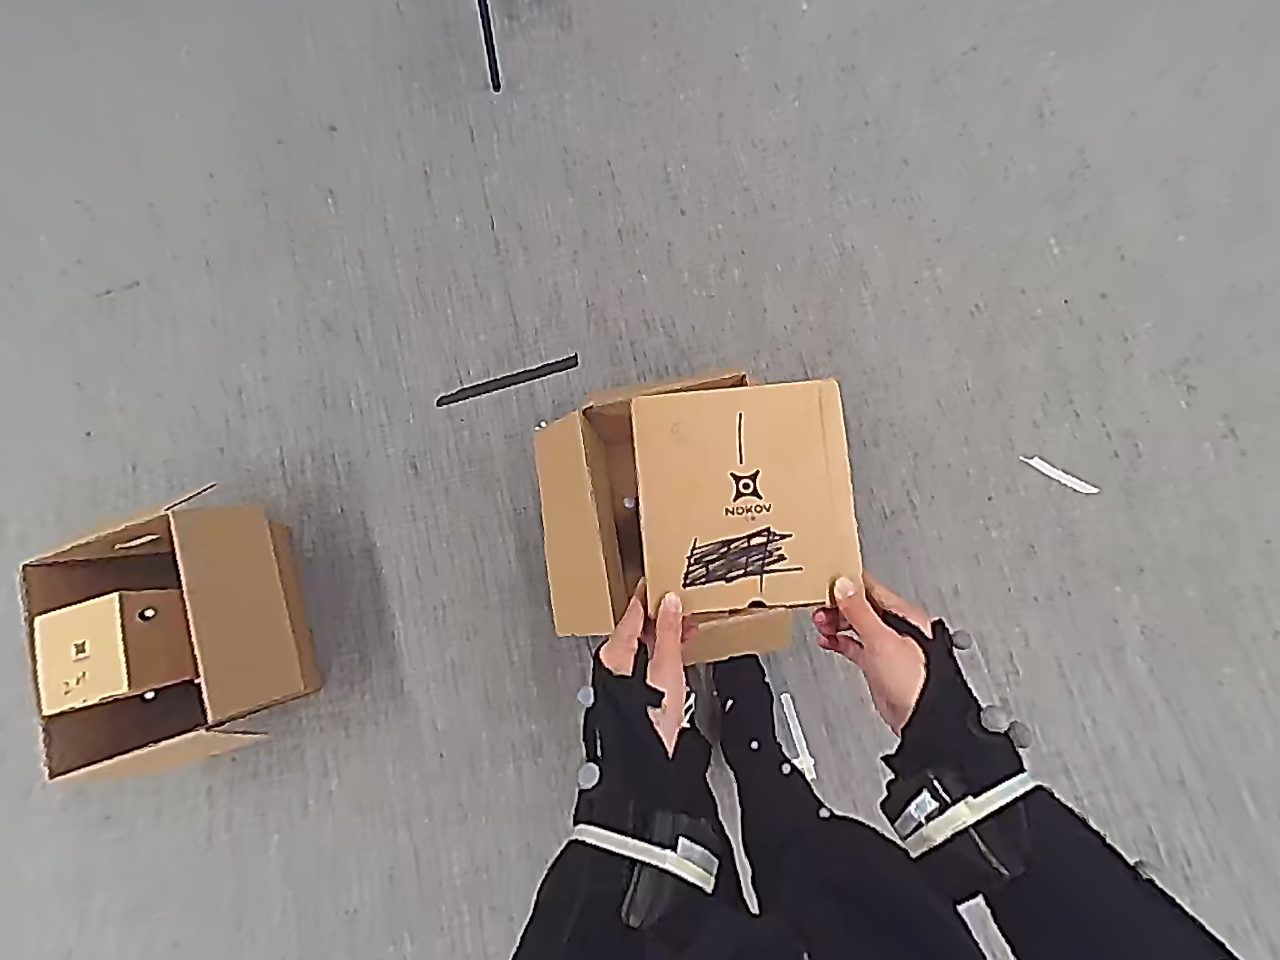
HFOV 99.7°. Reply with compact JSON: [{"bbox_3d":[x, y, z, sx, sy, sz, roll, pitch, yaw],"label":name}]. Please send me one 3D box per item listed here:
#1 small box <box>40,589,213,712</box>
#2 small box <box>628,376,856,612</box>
[{"bbox_3d":[-0.958,0.310,1.021,0.168,0.176,0.179,-17,80,3],"label":"small box"},{"bbox_3d":[0.081,0.017,0.500,0.168,0.176,0.179,-5,84,1],"label":"small box"}]
